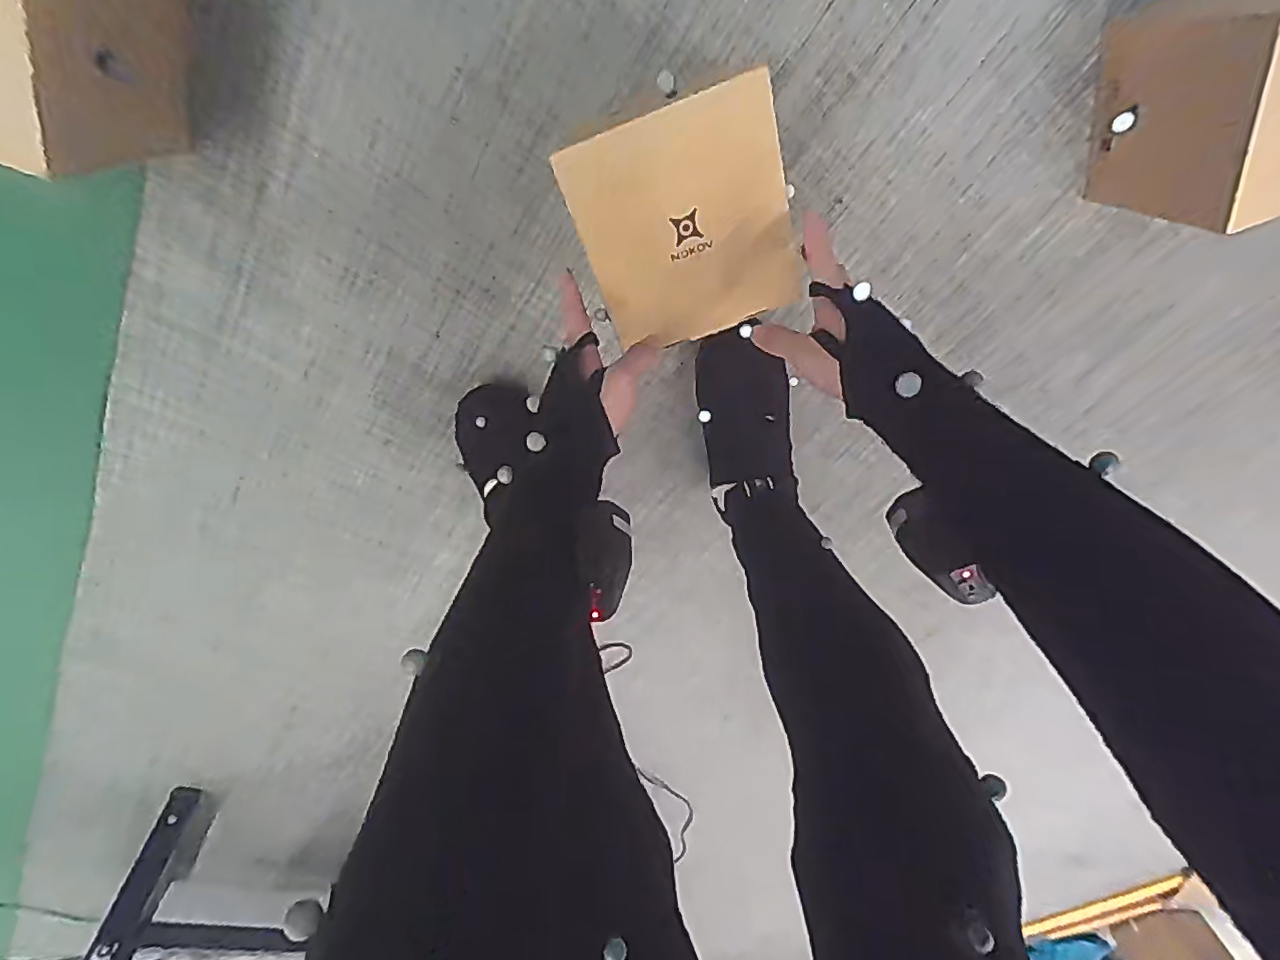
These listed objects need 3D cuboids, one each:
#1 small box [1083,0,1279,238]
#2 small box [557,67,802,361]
[{"bbox_3d":[0.552,-0.349,0.480,0.179,0.176,0.168,-21,126,9],"label":"small box"},{"bbox_3d":[0.031,-0.244,0.496,0.168,0.176,0.179,-19,128,7],"label":"small box"}]
